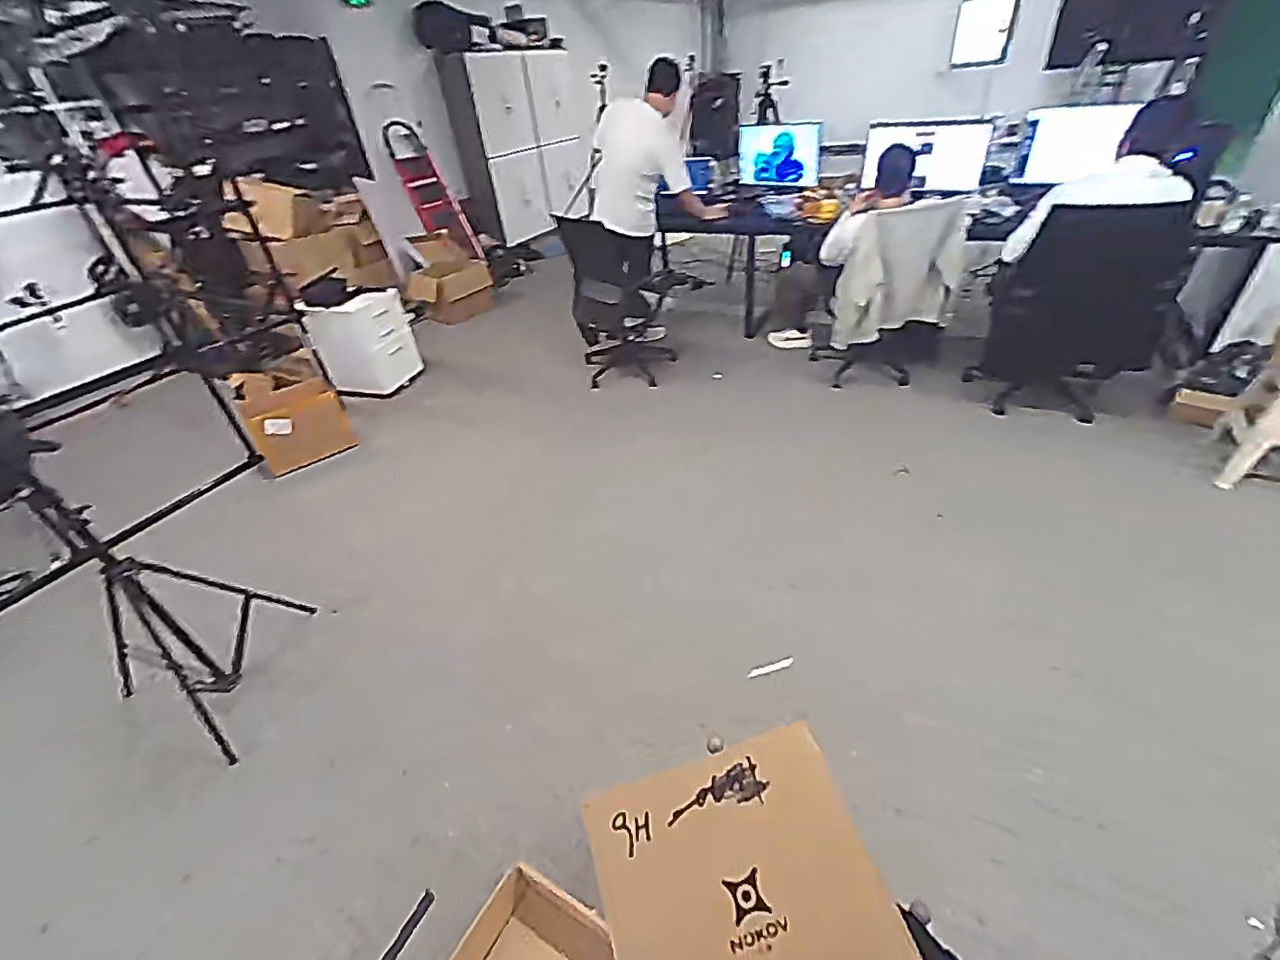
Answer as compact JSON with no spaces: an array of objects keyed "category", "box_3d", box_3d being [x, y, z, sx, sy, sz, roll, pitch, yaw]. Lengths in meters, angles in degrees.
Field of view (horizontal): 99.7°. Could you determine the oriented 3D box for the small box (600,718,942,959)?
[{"category":"small box","box_3d":[0.079,0.295,0.374,0.168,0.176,0.179,-15,53,-8]}]
